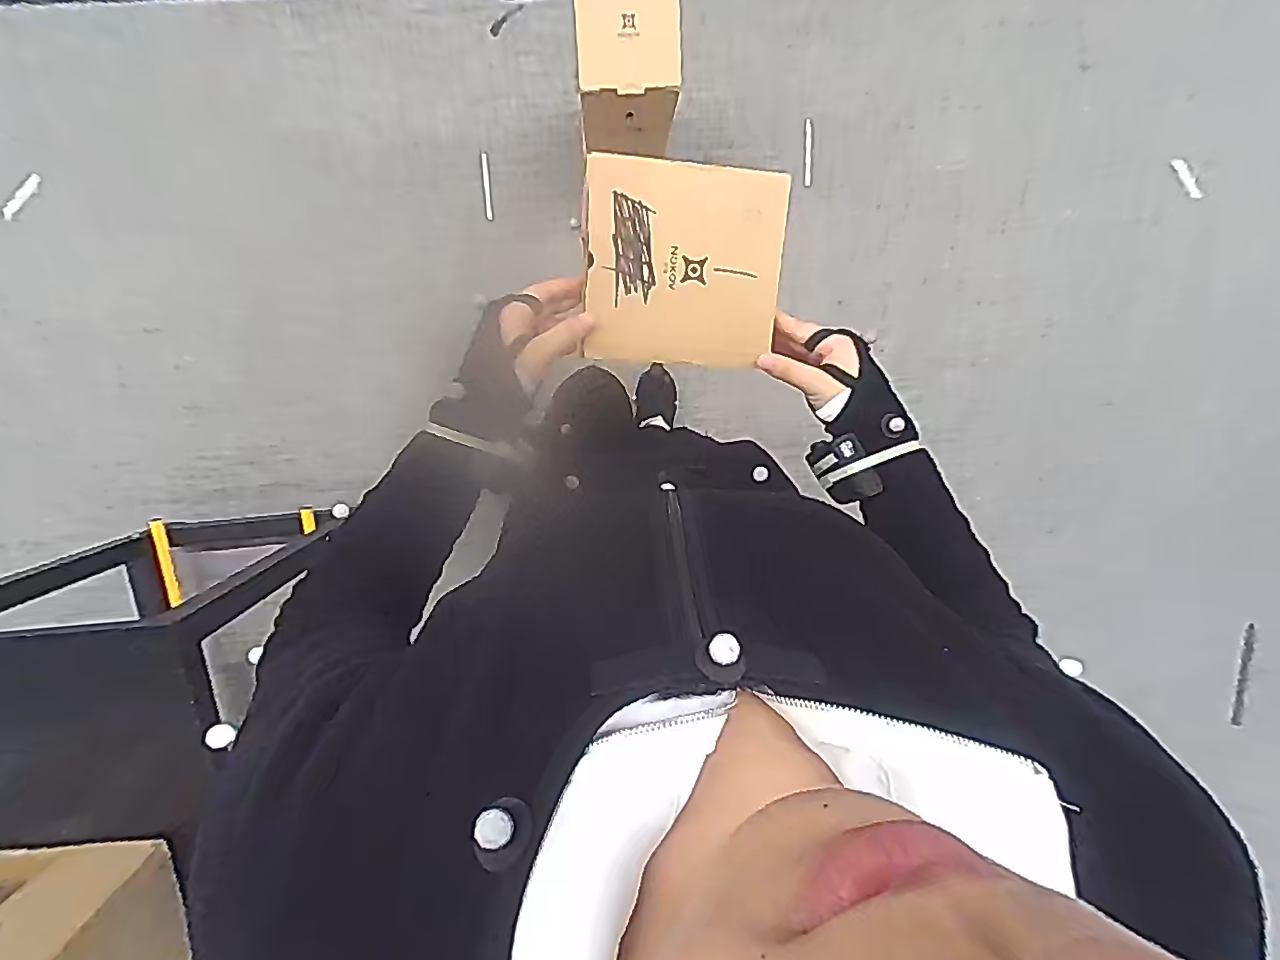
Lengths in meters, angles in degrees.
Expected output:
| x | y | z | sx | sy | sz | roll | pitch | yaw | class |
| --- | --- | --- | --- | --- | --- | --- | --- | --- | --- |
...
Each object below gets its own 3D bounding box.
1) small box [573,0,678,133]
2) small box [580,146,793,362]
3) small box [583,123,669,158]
| x | y | z | sx | sy | sz | roll | pitch | yaw | class |
| --- | --- | --- | --- | --- | --- | --- | --- | --- | --- |
| -0.024 | -0.716 | 0.923 | 0.168 | 0.176 | 0.179 | -3 | 102 | -2 | small box |
| 0.030 | -0.209 | 0.542 | 0.179 | 0.176 | 0.168 | 1 | 106 | -8 | small box |
| -0.033 | -0.751 | 1.083 | 0.168 | 0.176 | 0.179 | -3 | 102 | -2 | small box |
